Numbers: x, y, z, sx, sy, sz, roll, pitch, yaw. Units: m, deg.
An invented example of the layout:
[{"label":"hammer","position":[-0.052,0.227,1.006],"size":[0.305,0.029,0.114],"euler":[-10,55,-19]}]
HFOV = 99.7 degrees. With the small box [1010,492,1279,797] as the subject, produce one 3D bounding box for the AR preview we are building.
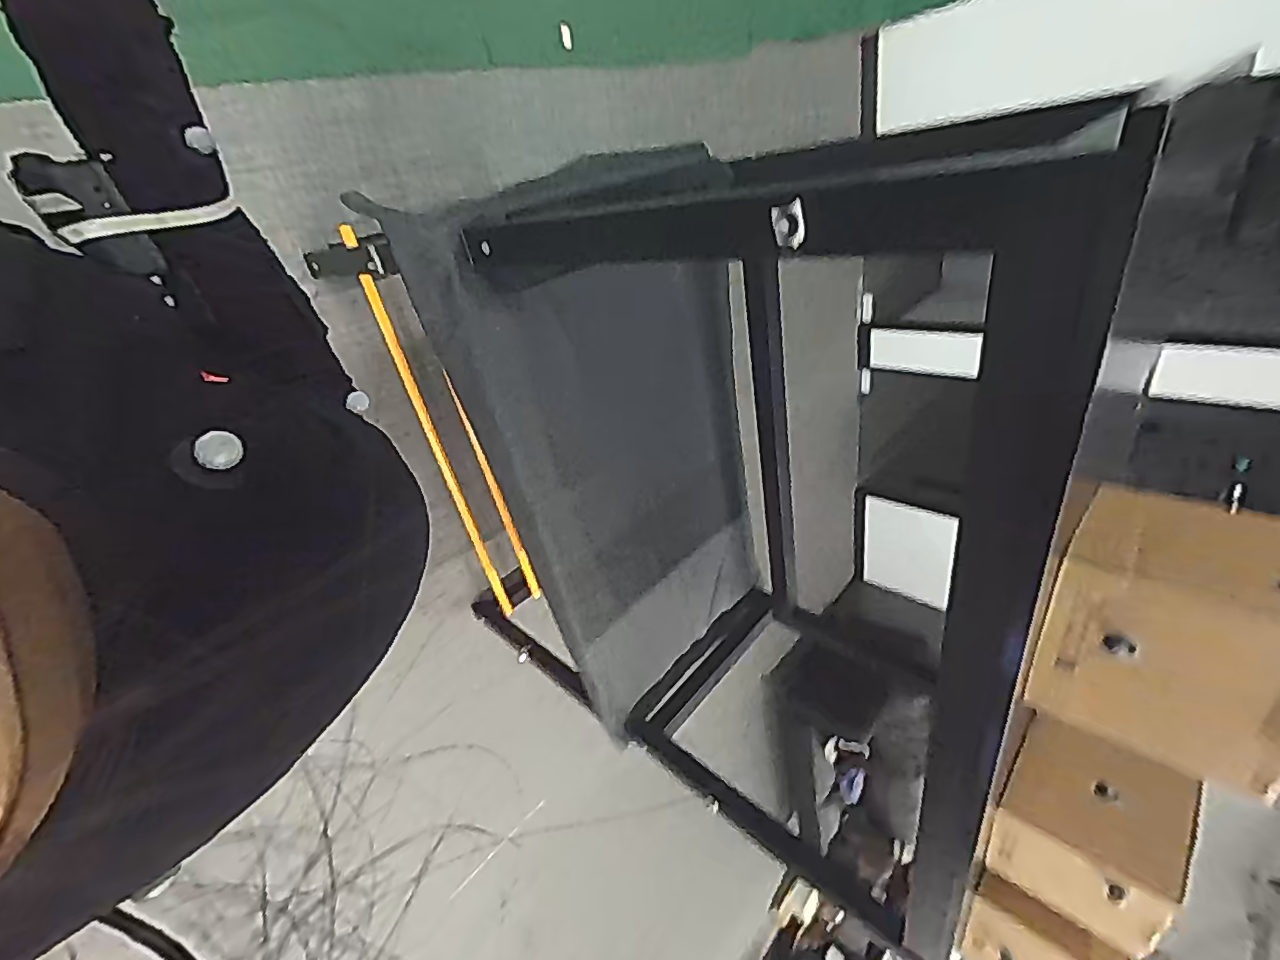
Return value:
[{"label":"small box","position":[0.474,0.129,0.497],"size":[0.179,0.176,0.168],"euler":[-26,123,-38]}]
